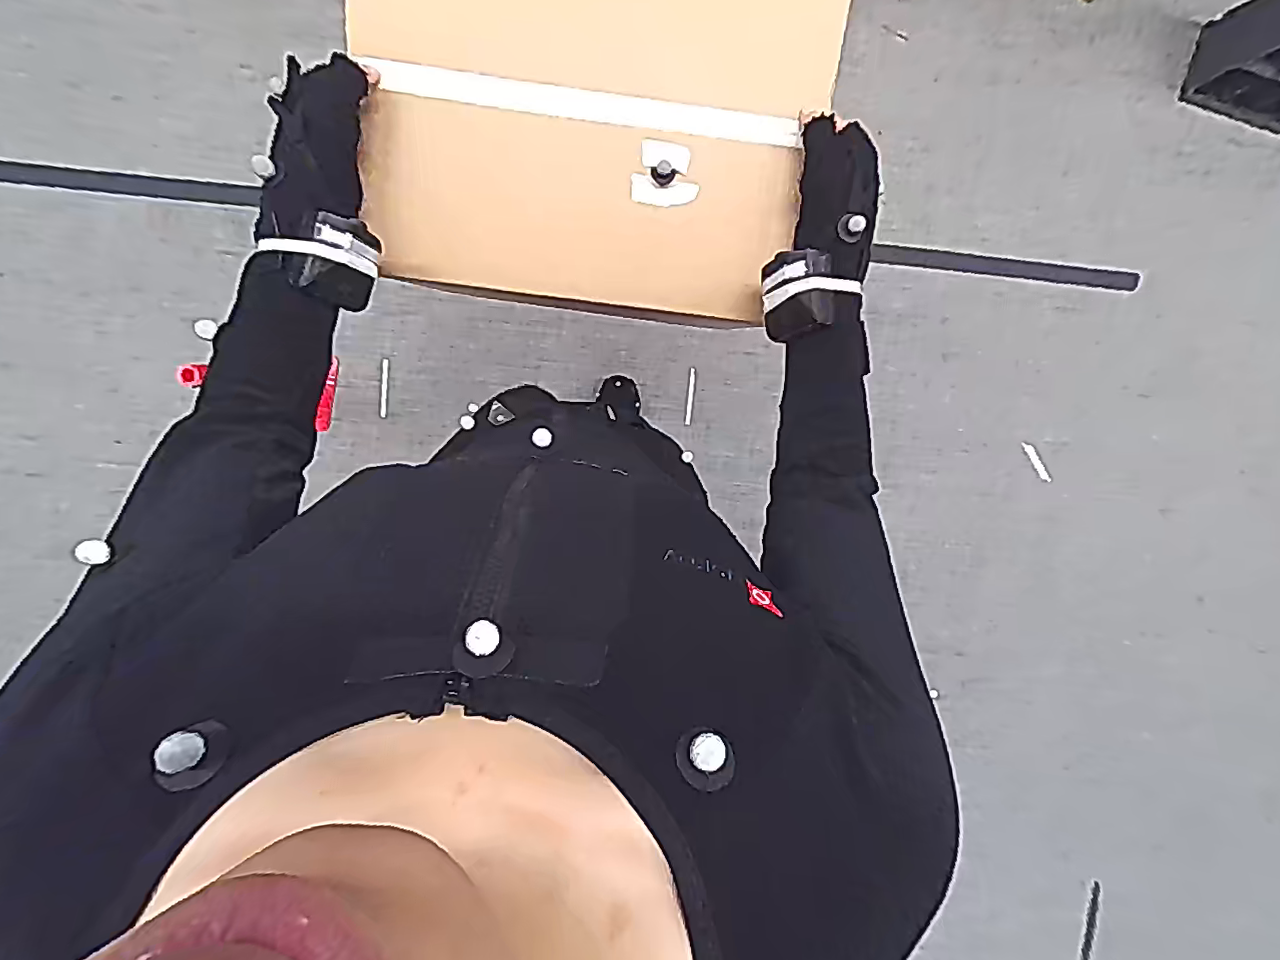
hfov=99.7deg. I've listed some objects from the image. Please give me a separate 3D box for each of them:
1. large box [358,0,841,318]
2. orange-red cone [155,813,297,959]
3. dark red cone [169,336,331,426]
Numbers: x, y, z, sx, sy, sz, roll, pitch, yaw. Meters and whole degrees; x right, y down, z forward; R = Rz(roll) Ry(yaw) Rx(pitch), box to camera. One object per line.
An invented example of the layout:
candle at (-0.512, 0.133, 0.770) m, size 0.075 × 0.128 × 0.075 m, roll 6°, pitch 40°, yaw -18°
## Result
large box at (-0.046, -0.367, 0.607) m, size 0.408 × 0.320 × 0.320 m, roll 6°, pitch 105°, yaw -4°
orange-red cone at (-1.056, 1.048, 1.342) m, size 0.198 × 0.360 × 0.199 m, roll 2°, pitch 97°, yaw -3°
dark red cone at (-0.869, -0.230, 1.189) m, size 0.201 × 0.394 × 0.202 m, roll 10°, pitch 96°, yaw -6°
